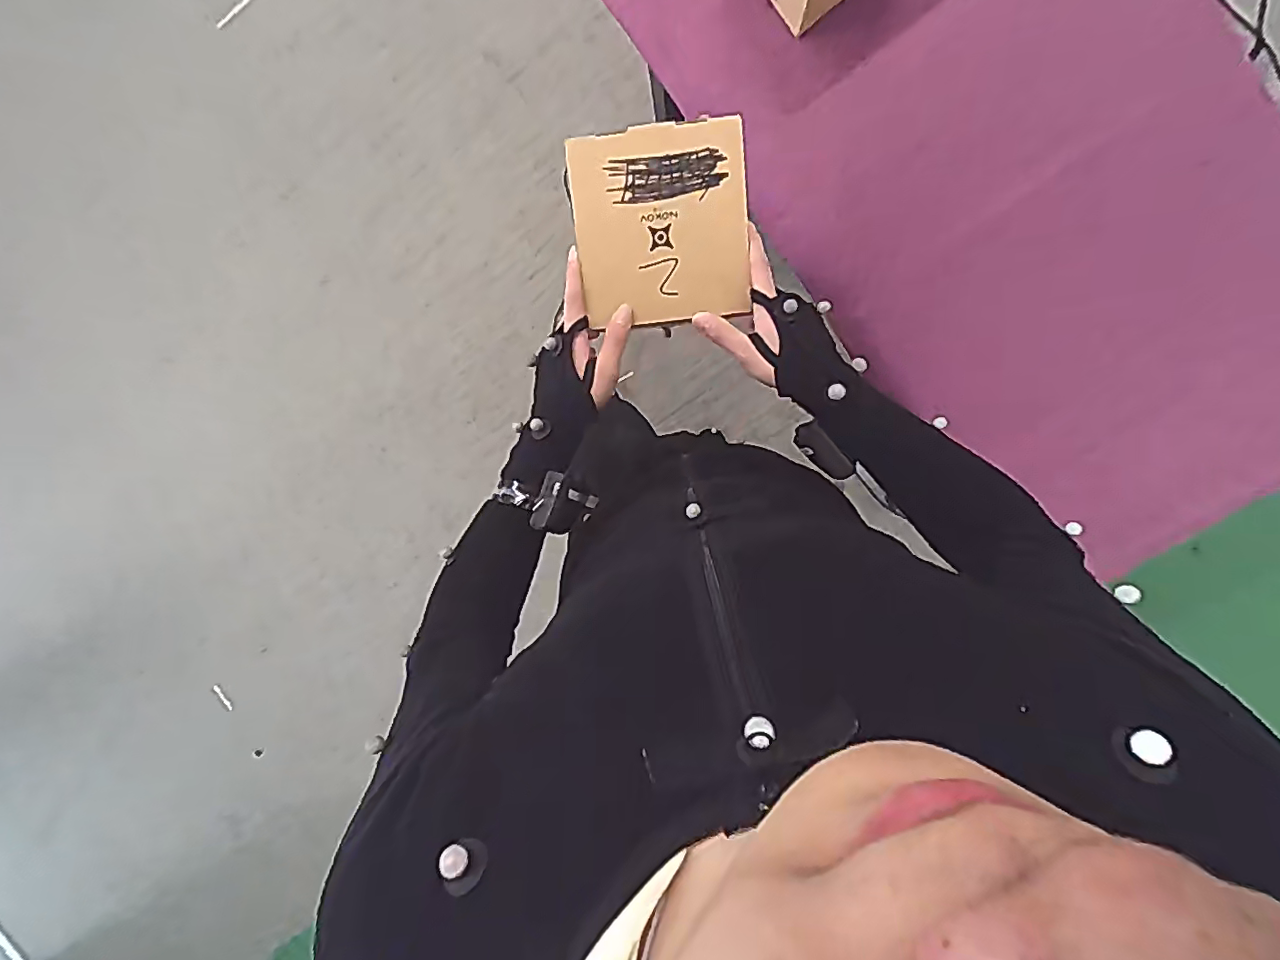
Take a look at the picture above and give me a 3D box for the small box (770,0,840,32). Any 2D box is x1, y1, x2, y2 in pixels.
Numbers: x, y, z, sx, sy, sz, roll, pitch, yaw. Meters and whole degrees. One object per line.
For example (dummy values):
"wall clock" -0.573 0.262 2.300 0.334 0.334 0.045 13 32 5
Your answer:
"small box" 0.243 -0.752 0.694 0.179 0.176 0.168 -37 92 9
